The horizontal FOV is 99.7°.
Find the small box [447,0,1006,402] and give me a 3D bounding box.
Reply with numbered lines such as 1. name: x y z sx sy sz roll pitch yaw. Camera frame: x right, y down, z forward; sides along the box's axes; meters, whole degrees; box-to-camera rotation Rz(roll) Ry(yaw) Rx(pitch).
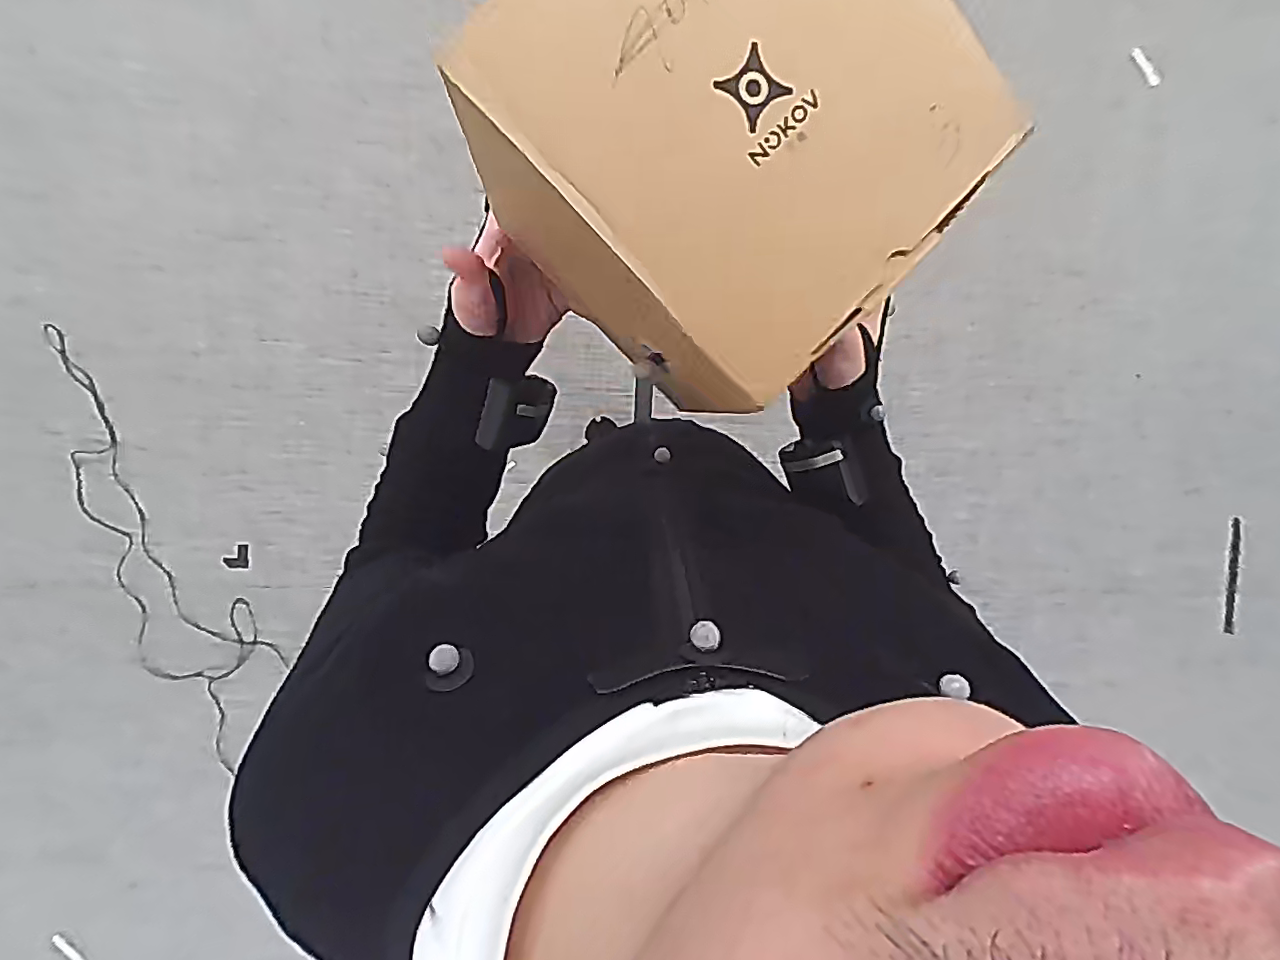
1. small box: 0.033 -0.160 0.296 0.179 0.176 0.168 42 89 -10
